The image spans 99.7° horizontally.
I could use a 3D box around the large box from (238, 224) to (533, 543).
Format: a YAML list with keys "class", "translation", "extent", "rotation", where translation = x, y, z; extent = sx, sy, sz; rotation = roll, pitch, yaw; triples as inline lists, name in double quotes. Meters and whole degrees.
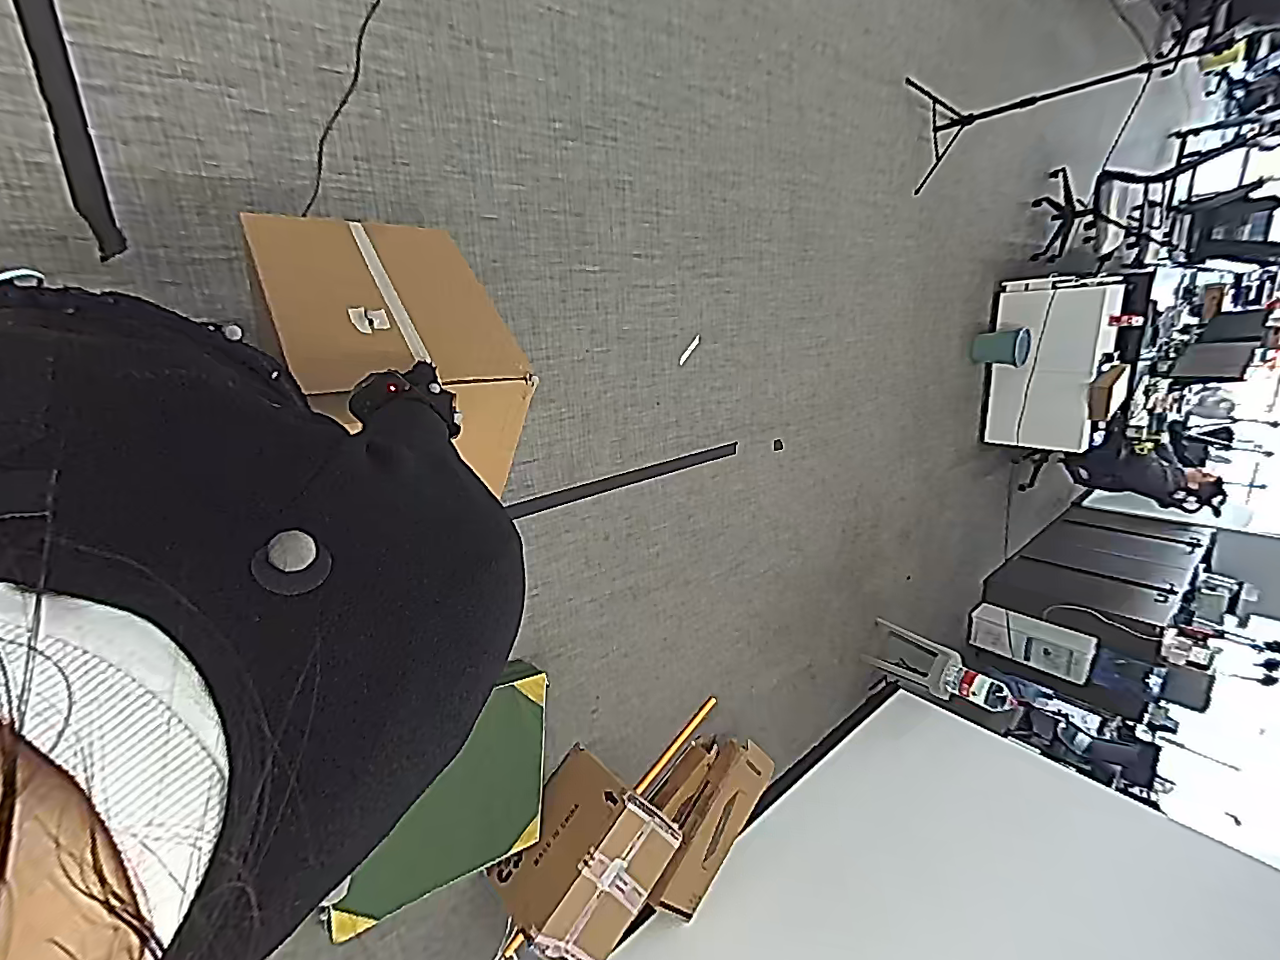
- class: "large box"
  translation: [-0.437, -0.167, 0.915]
  extent: [0.320, 0.408, 0.320]
  rotation: [-14, 148, -36]
